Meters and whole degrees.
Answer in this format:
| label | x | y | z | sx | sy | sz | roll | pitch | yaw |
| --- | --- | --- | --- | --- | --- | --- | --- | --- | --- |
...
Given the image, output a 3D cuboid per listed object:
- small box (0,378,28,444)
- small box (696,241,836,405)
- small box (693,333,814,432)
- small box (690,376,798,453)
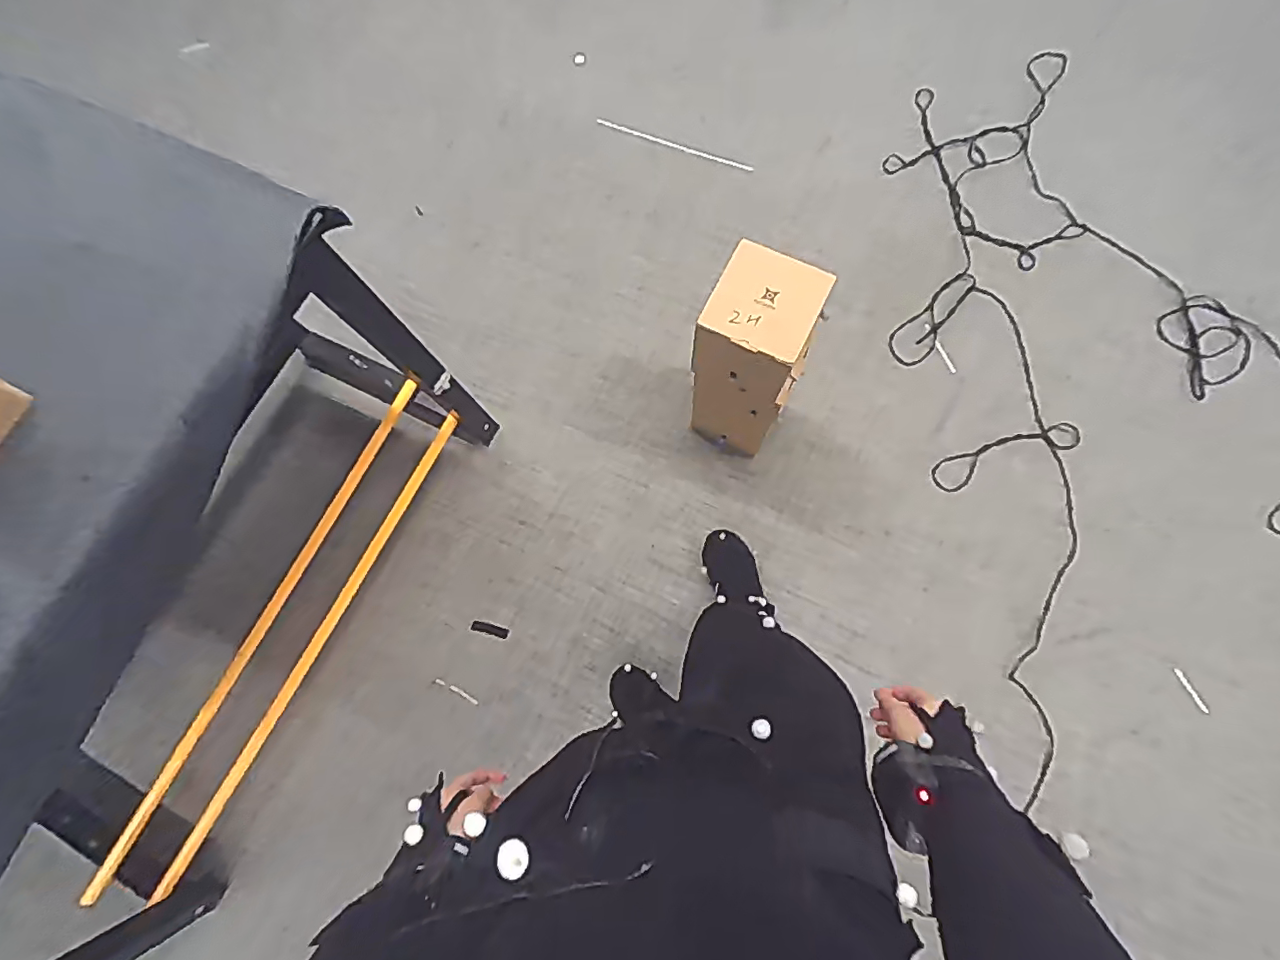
| label | x | y | z | sx | sy | sz | roll | pitch | yaw |
| --- | --- | --- | --- | --- | --- | --- | --- | --- | --- |
| small box | -0.786 | -0.075 | 0.524 | 0.179 | 0.176 | 0.168 | 25 | 79 | 10 |
| small box | 0.202 | -0.258 | 0.921 | 0.168 | 0.176 | 0.179 | 26 | 79 | 9 |
| small box | 0.218 | -0.214 | 1.079 | 0.179 | 0.176 | 0.168 | 25 | 78 | 10 |
| small box | 0.230 | -0.178 | 1.236 | 0.179 | 0.176 | 0.168 | 28 | 78 | 8 |
